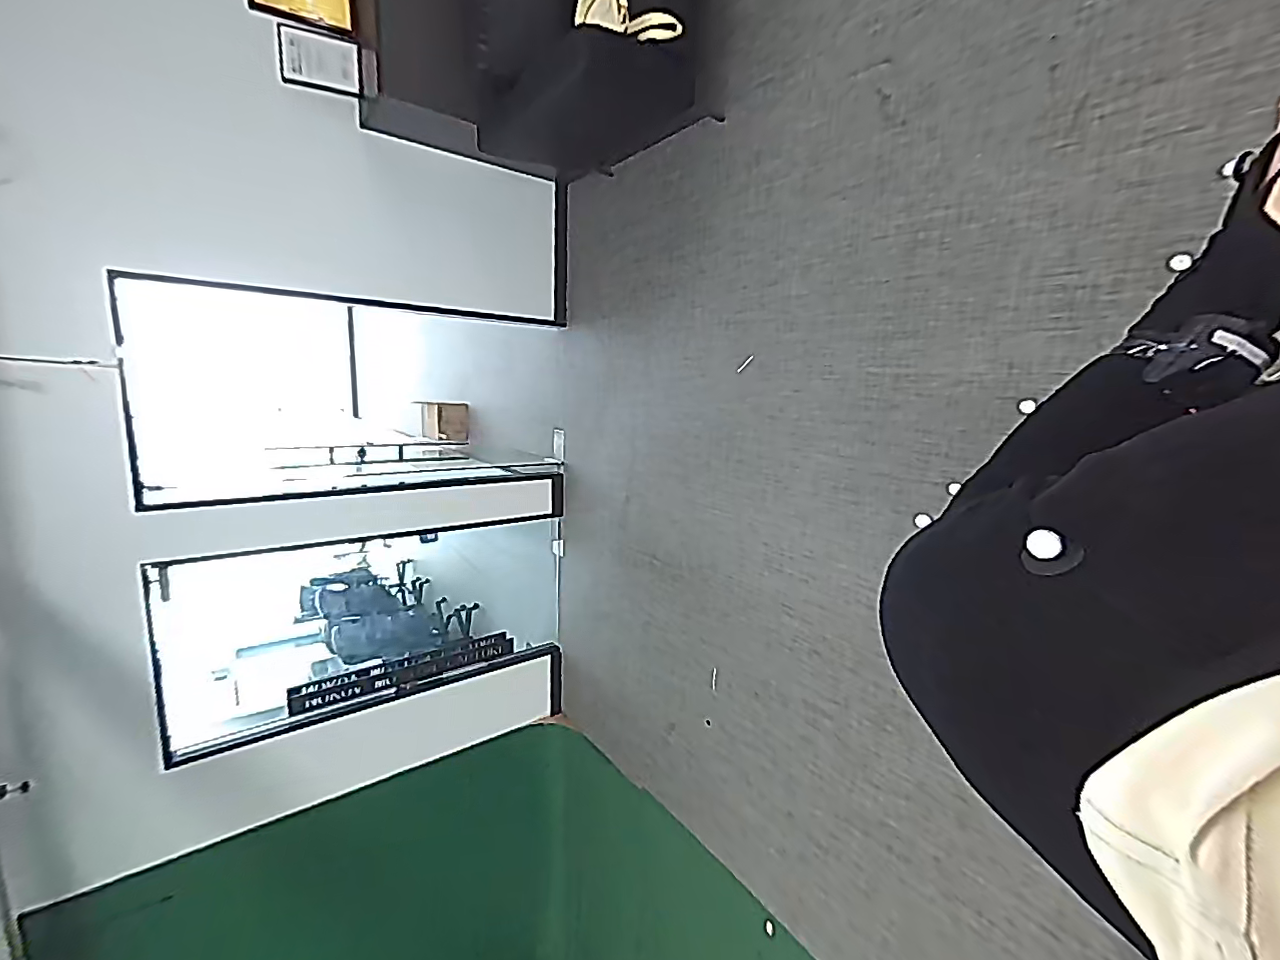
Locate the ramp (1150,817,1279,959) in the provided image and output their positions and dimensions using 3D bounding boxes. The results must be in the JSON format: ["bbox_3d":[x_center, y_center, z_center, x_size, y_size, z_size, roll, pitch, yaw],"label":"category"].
[{"bbox_3d":[1.313,1.285,1.076,0.509,0.206,0.991,11,103,53],"label":"ramp"}]
